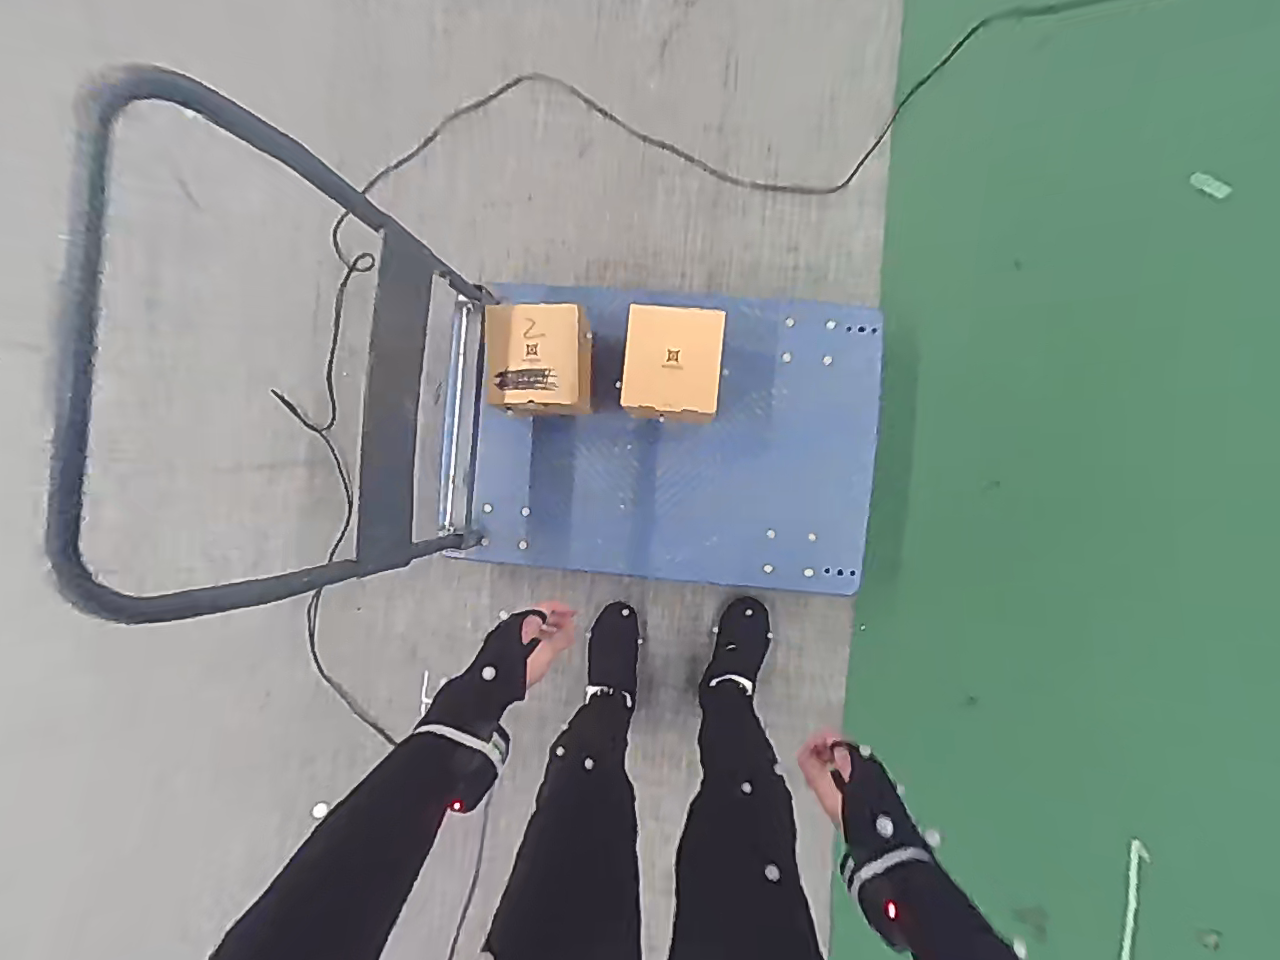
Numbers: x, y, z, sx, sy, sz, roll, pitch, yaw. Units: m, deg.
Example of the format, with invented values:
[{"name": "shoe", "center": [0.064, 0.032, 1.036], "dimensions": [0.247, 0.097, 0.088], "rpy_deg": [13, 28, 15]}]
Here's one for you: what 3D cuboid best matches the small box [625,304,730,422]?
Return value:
[{"name": "small box", "center": [0.067, -0.207, 0.996], "dimensions": [0.168, 0.176, 0.179], "rpy_deg": [6, 92, 4]}]
